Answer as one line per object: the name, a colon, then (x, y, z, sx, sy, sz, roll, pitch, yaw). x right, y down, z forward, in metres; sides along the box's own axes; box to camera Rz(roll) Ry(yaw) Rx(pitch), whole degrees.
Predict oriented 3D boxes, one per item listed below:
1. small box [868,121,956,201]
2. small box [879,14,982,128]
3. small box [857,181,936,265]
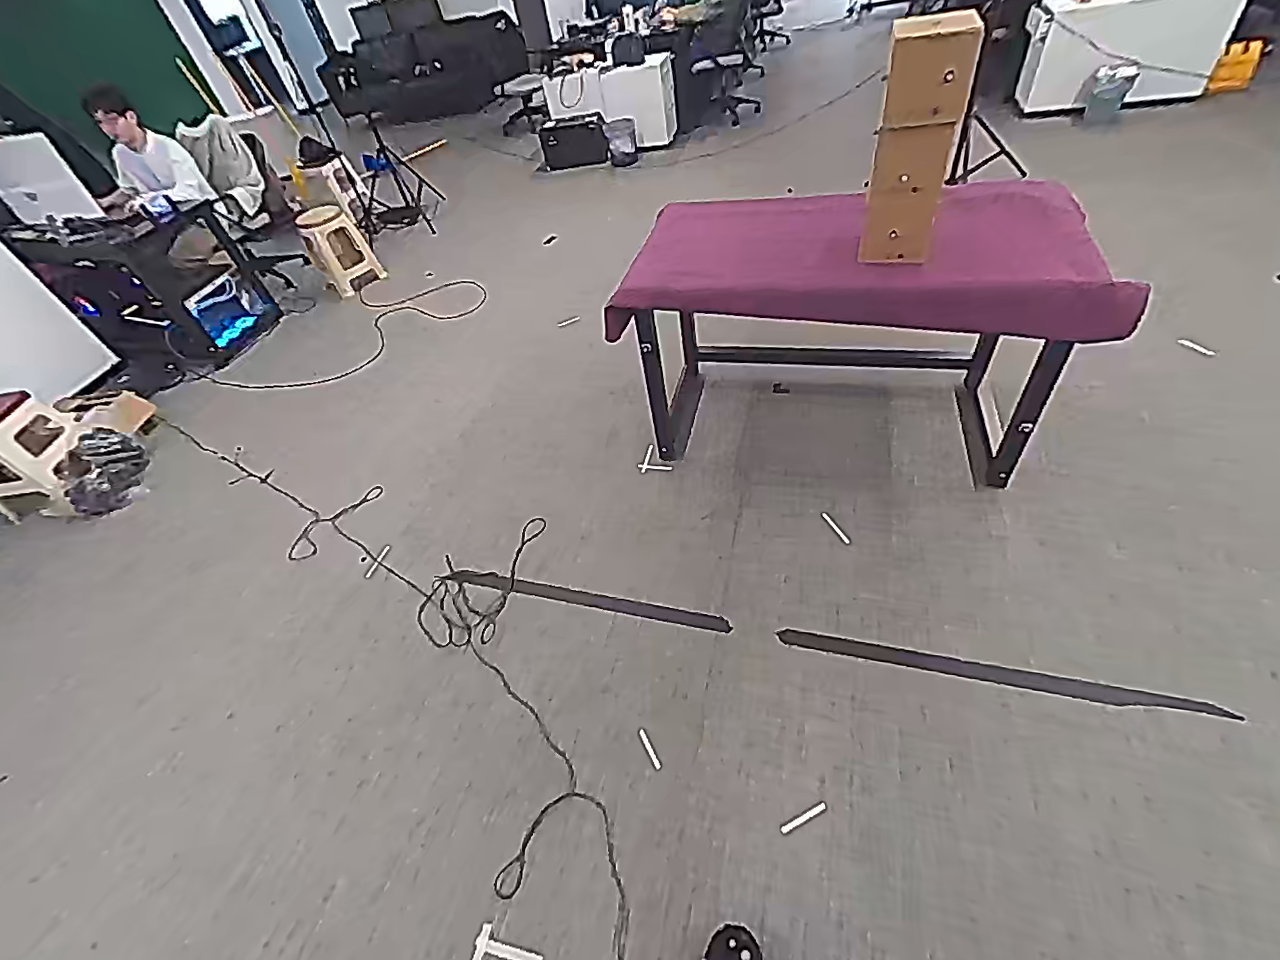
small box: (0.664, -0.808, 1.334, 0.168, 0.176, 0.179, 8, 50, 19)
small box: (0.636, -0.901, 1.202, 0.168, 0.176, 0.179, 6, 49, 16)
small box: (0.685, -0.695, 1.451, 0.168, 0.176, 0.179, 8, 50, 19)
